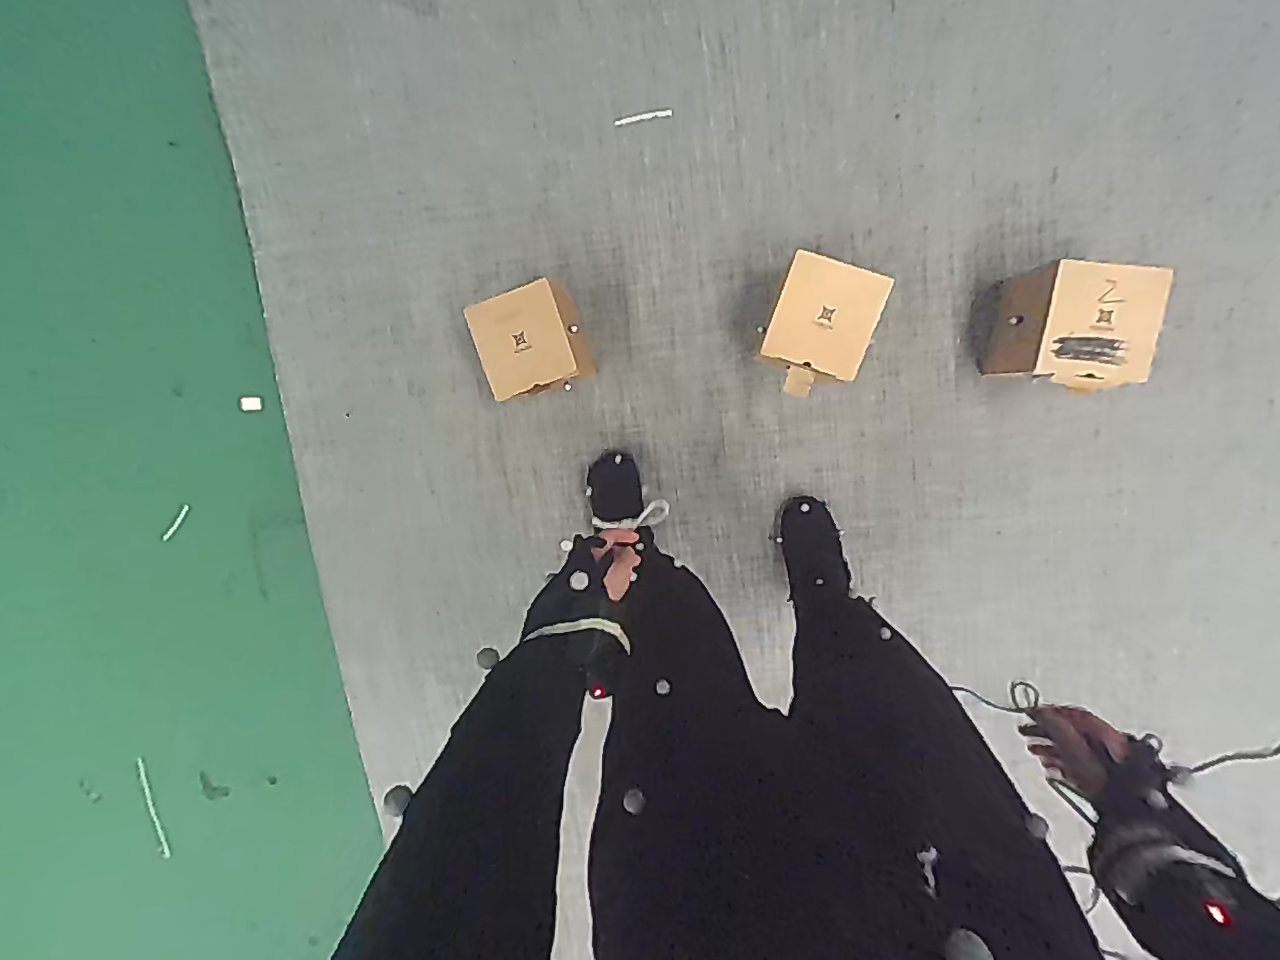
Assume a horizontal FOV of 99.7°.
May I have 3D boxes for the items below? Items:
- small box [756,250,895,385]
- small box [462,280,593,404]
[{"bbox_3d":[0.313,-0.278,0.957,0.168,0.176,0.179,19,102,3],"label":"small box"},{"bbox_3d":[-0.201,-0.253,1.025,0.168,0.176,0.179,-18,96,9],"label":"small box"}]
